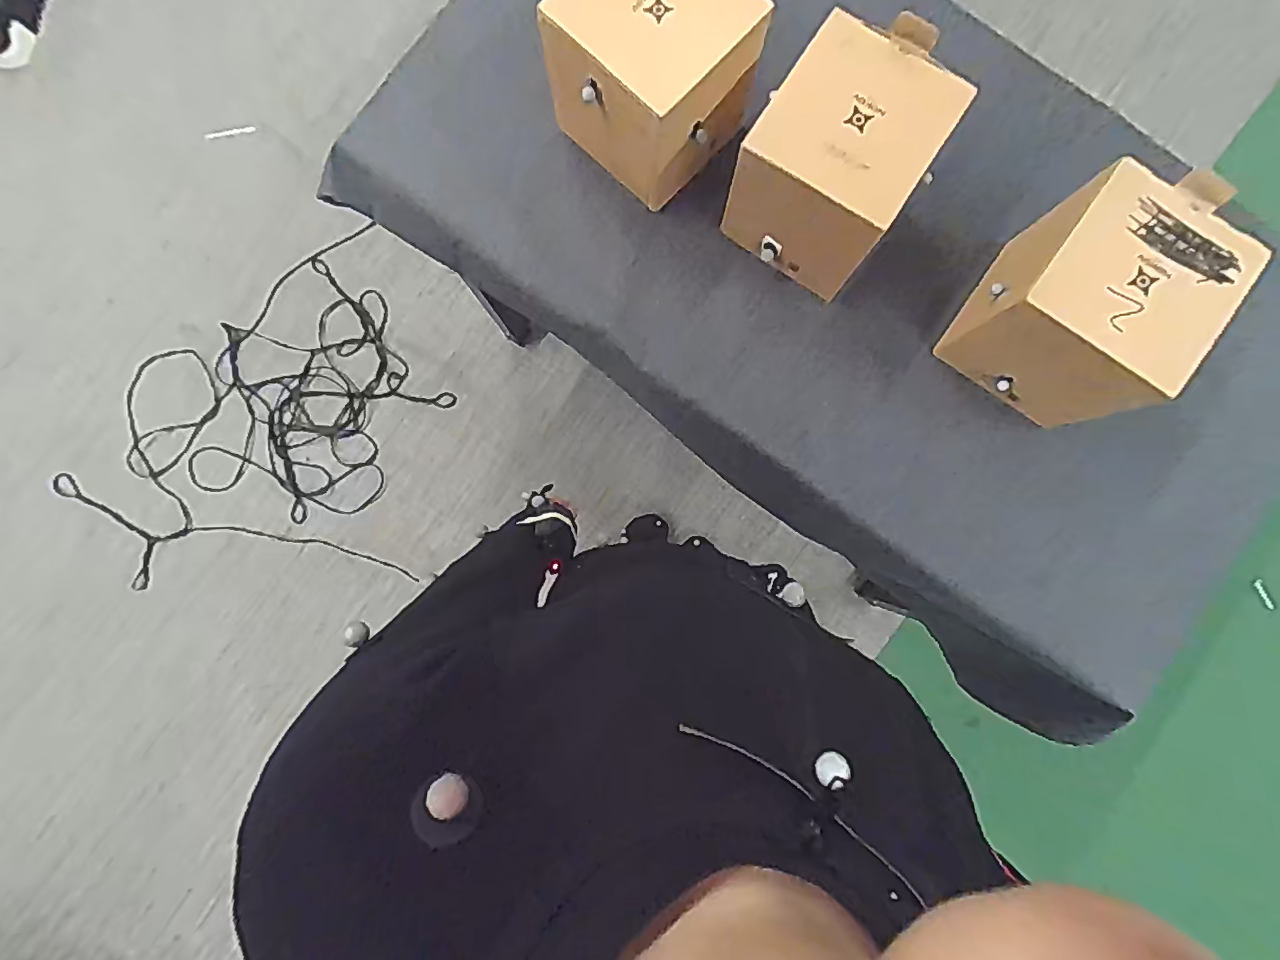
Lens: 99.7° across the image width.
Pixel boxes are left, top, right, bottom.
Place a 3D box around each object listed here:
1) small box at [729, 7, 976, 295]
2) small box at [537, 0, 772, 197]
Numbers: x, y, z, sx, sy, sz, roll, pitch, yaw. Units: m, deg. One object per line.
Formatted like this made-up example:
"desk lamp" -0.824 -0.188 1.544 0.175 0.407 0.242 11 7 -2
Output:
"small box" 0.214 -0.345 0.602 0.168 0.176 0.179 32 86 4
"small box" 0.015 -0.461 0.611 0.179 0.176 0.168 43 86 4
